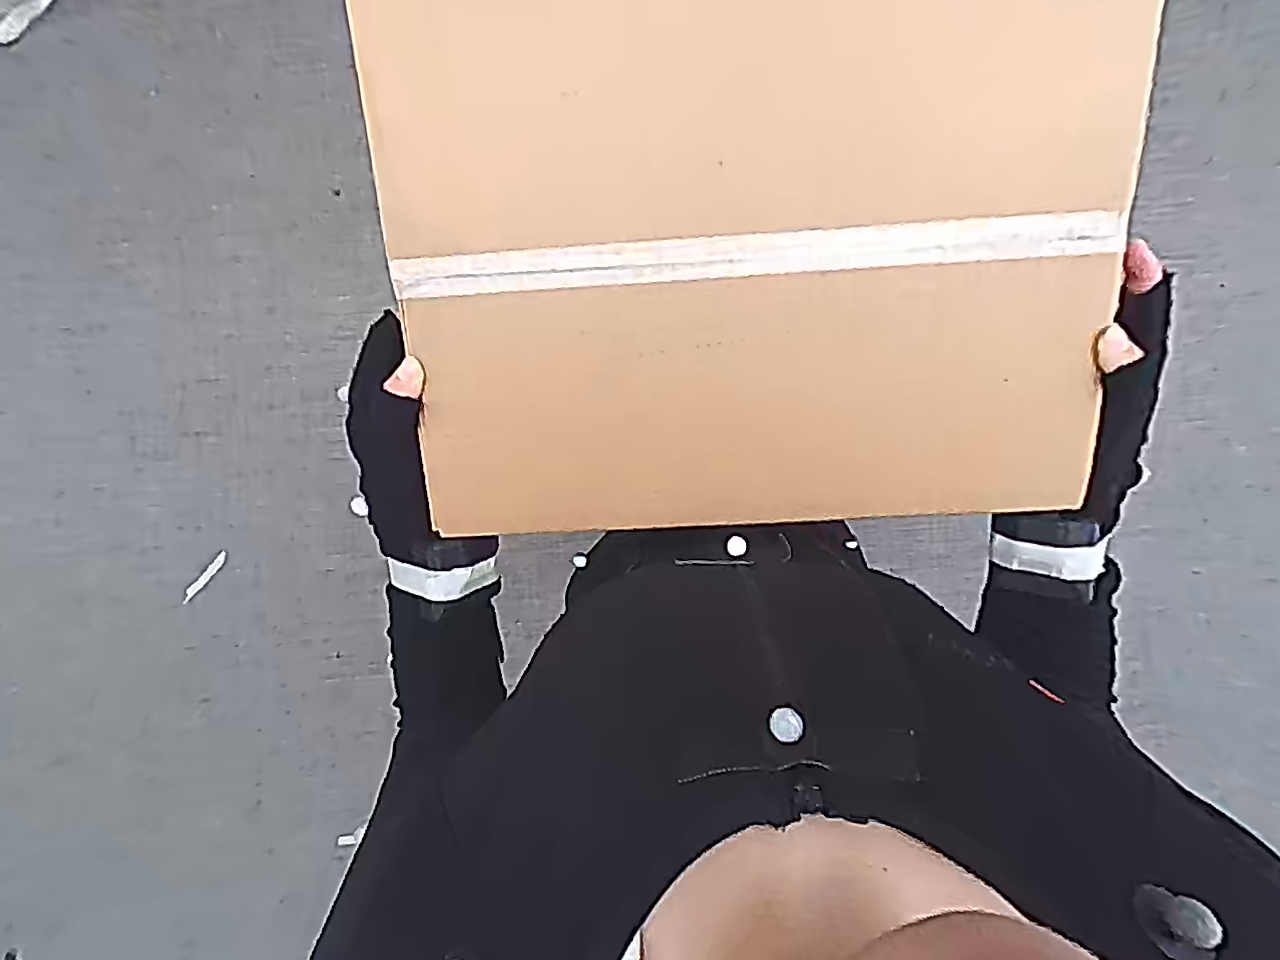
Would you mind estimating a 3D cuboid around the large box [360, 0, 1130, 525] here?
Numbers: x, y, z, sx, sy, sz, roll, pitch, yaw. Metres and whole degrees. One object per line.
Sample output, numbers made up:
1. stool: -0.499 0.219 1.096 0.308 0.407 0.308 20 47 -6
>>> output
1. large box: 0.061 -0.167 0.455 0.408 0.320 0.320 -3 106 1
